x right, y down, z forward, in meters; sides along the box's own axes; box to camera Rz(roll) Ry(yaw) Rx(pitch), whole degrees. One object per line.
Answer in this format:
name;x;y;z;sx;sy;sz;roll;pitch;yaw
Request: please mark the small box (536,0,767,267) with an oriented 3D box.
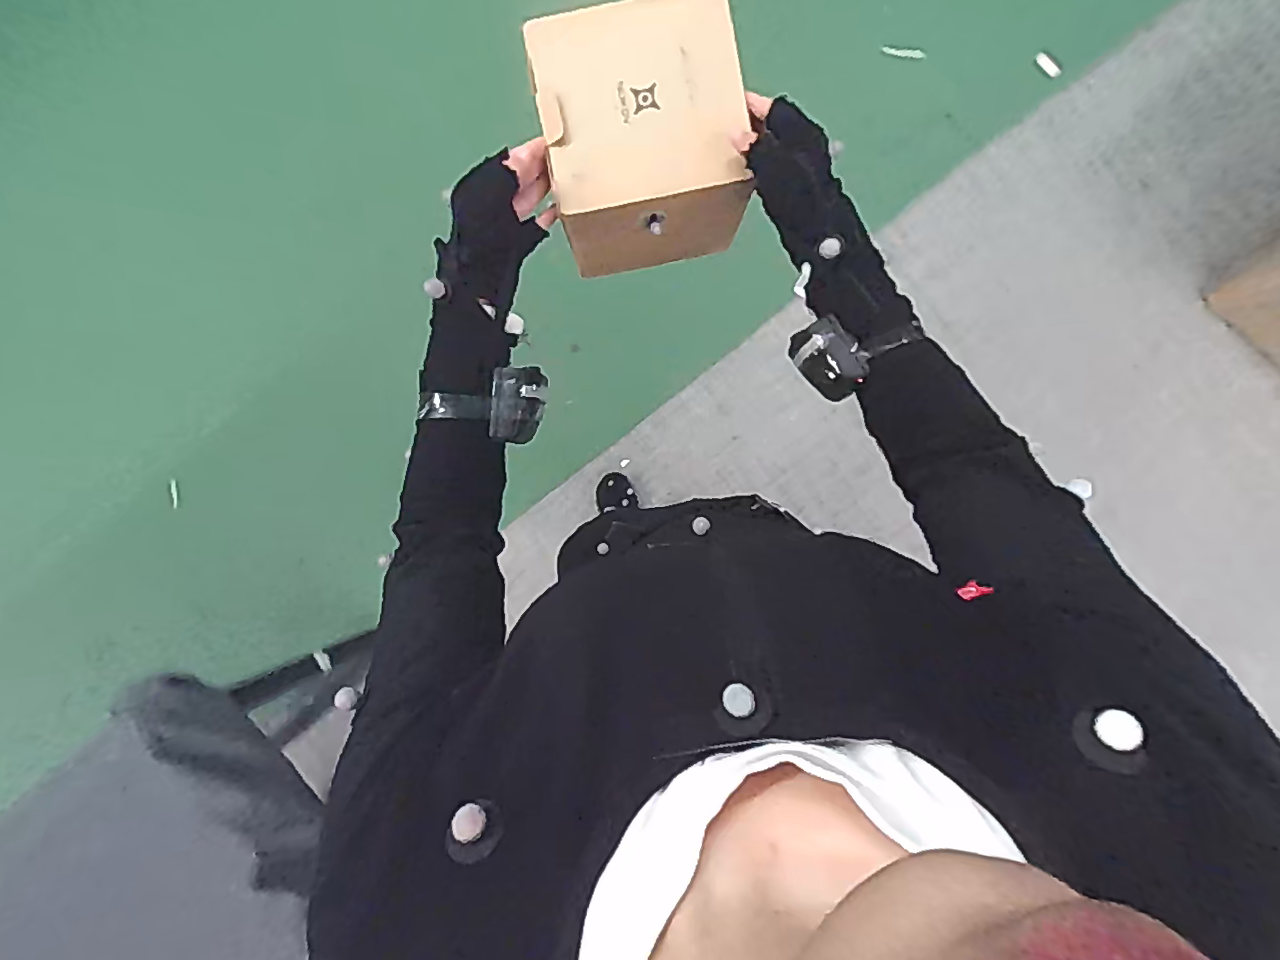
small box;0.010;-0.330;0.537;0.179;0.176;0.168;-11;93;-1
